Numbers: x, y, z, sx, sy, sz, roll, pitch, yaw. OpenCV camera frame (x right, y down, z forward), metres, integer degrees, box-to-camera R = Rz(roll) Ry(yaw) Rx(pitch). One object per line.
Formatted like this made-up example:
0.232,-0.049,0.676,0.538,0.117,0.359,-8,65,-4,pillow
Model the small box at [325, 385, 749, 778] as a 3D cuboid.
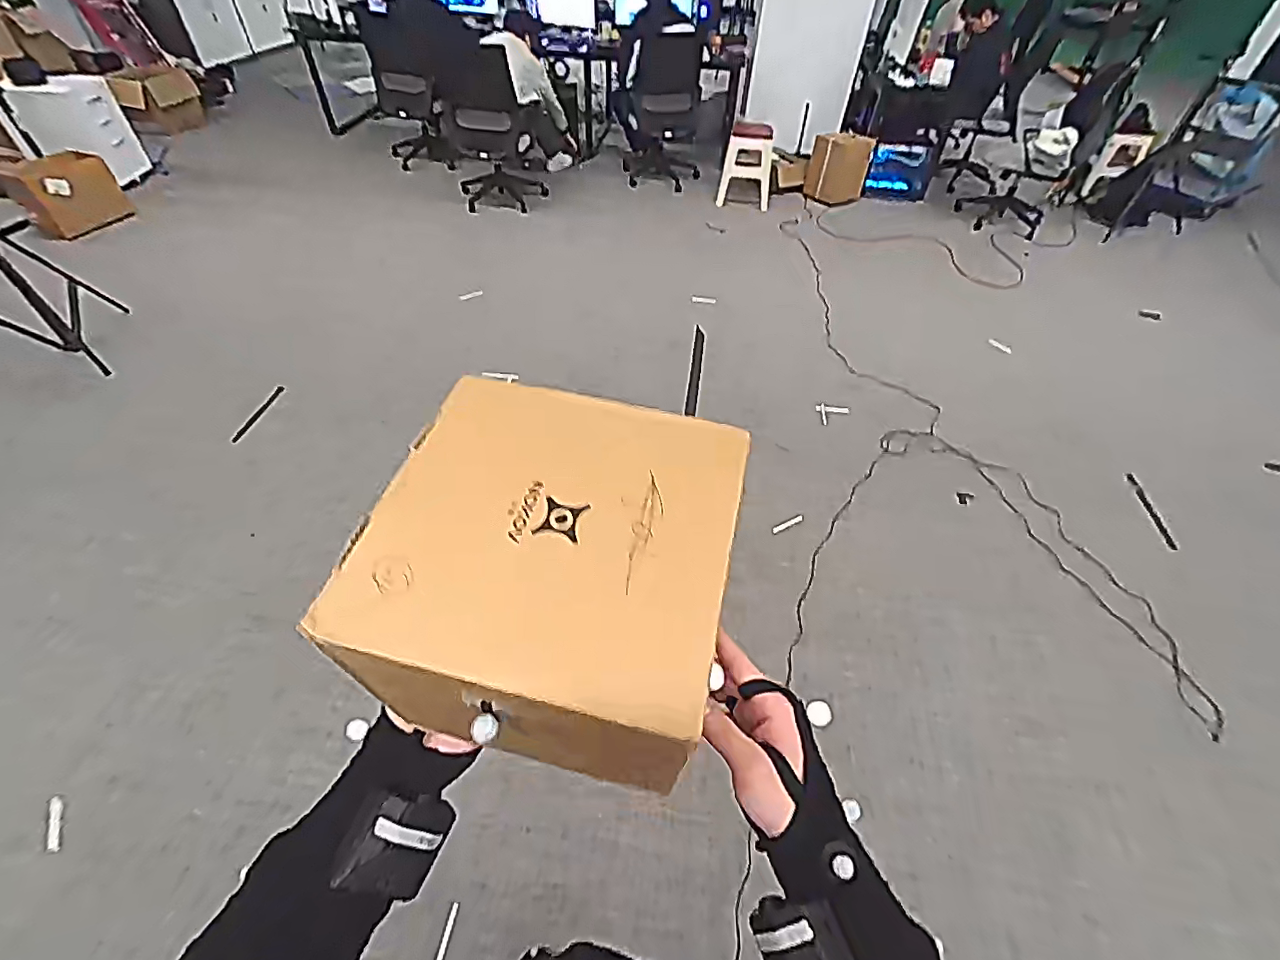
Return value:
-0.042,0.070,0.340,0.179,0.176,0.168,12,54,6,small box
